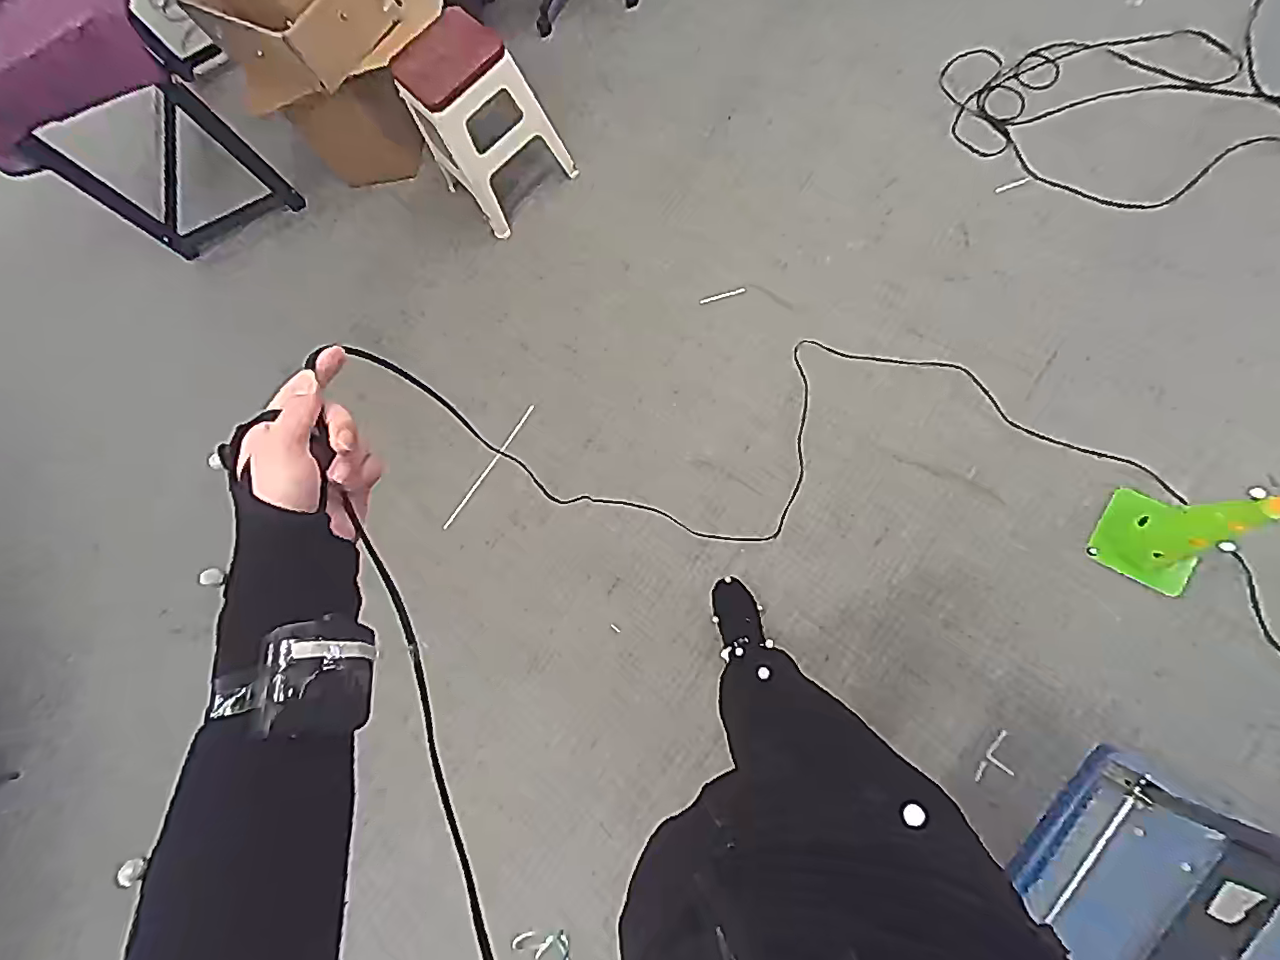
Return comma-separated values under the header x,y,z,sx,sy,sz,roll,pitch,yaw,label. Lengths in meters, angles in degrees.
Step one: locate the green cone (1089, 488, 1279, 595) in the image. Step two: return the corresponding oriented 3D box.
x,y,z,sx,sy,sz,roll,pitch,yaw,label
1.150,0.093,1.098,0.200,0.368,0.202,29,82,19,green cone
